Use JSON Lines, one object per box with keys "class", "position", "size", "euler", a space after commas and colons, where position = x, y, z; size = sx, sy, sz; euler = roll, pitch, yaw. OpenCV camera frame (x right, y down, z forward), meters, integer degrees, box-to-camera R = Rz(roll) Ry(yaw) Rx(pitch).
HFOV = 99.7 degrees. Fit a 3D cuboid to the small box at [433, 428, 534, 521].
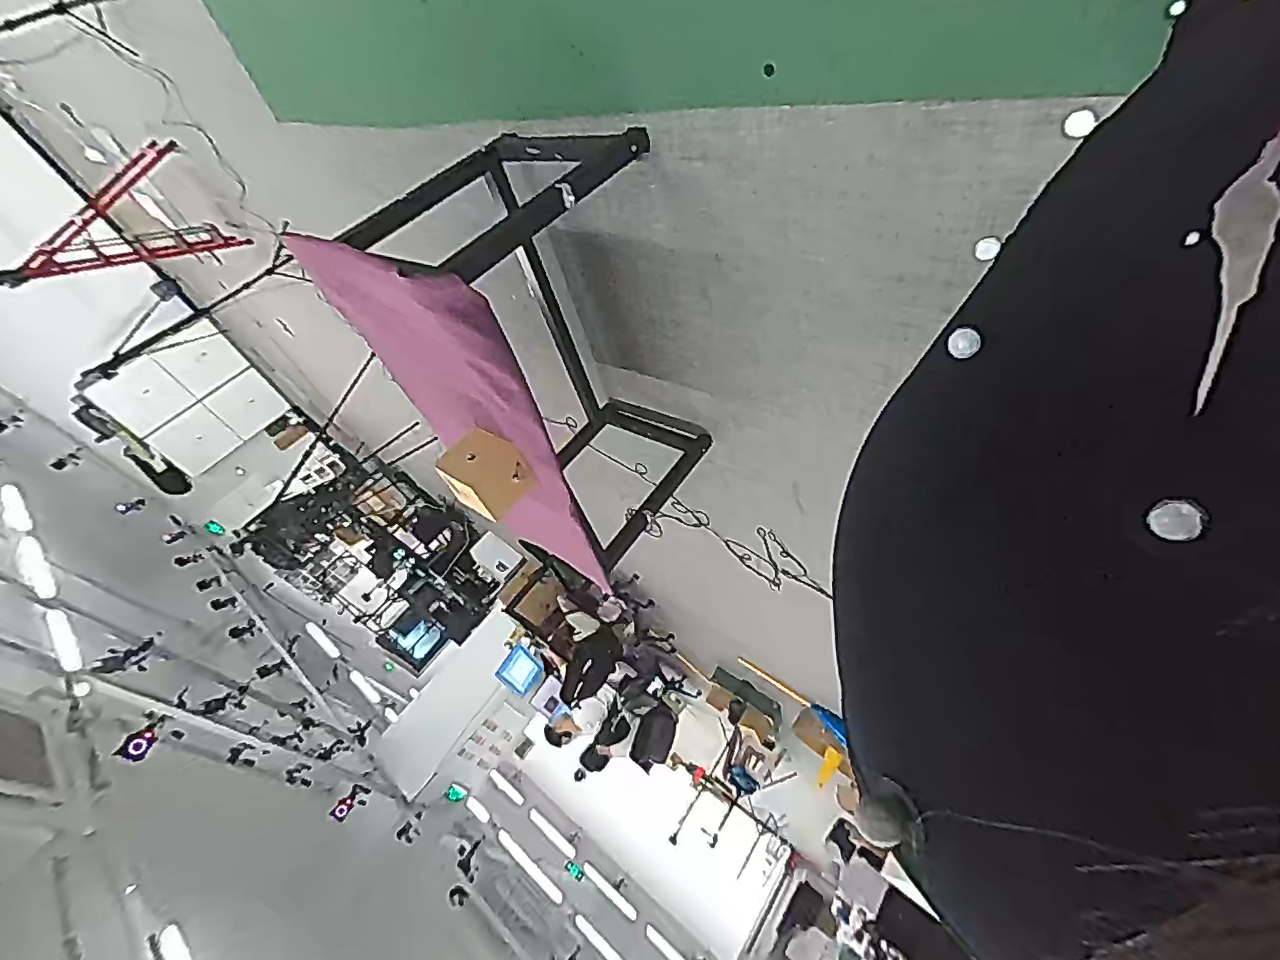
{"class": "small box", "position": [-0.431, -0.021, 1.510], "size": [0.179, 0.176, 0.168], "euler": [24, 151, 32]}
